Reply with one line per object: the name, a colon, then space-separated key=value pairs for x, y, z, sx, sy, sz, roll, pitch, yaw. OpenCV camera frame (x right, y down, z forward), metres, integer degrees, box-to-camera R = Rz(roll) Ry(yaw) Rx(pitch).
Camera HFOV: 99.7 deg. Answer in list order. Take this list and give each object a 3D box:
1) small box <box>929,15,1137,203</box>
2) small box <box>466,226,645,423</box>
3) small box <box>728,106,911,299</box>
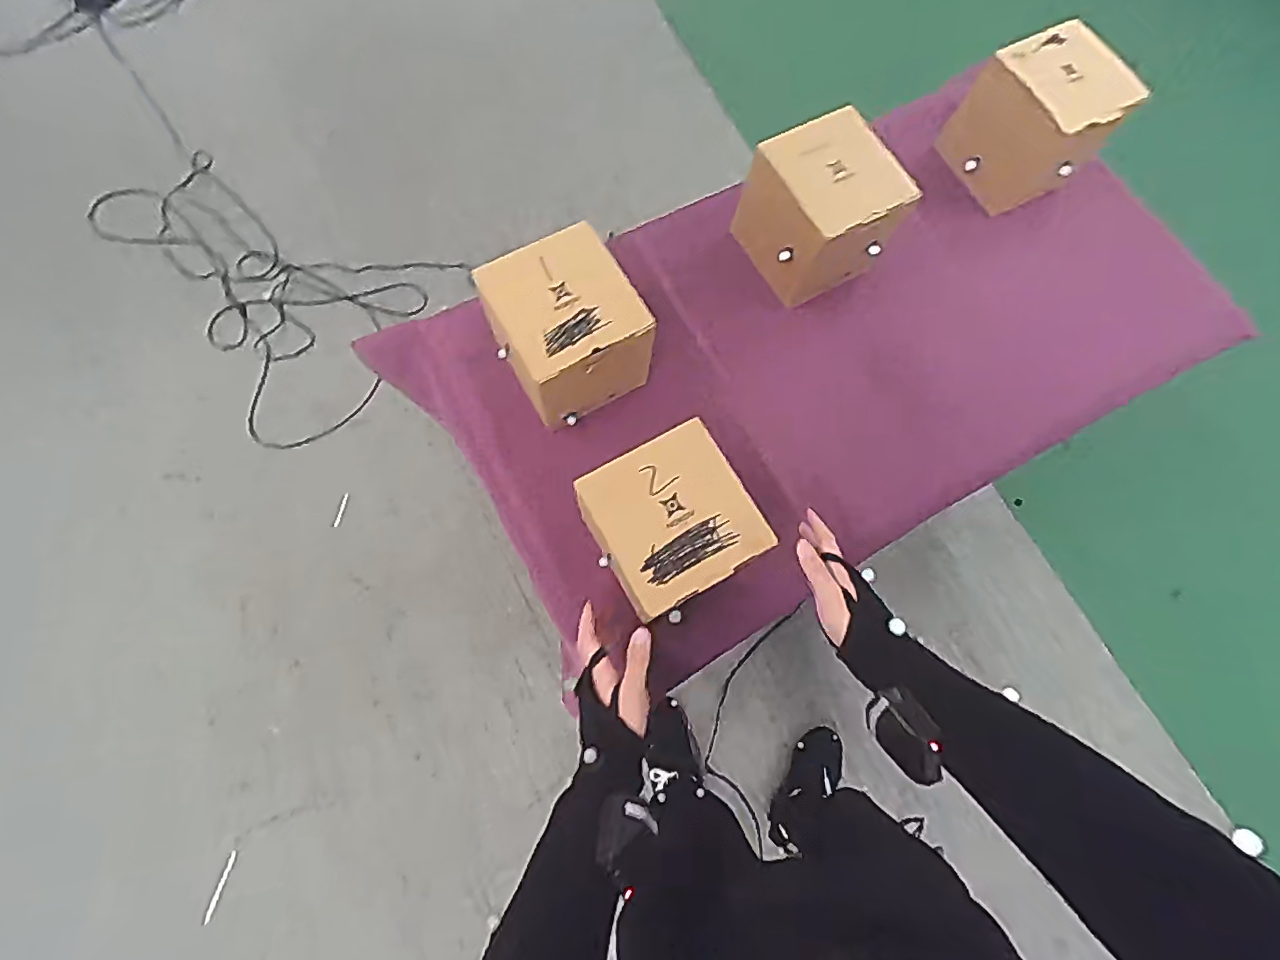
small box: x=0.624 y=-0.587 z=0.882 sx=0.168 sy=0.176 sz=0.179 roll=-28 pitch=78 yaw=-9
small box: x=-0.106 y=-0.197 z=0.742 sx=0.168 sy=0.176 sz=0.179 roll=-30 pitch=78 yaw=-11
small box: x=0.256 y=-0.403 z=0.817 sx=0.168 sy=0.176 sz=0.179 roll=-29 pitch=78 yaw=-10
